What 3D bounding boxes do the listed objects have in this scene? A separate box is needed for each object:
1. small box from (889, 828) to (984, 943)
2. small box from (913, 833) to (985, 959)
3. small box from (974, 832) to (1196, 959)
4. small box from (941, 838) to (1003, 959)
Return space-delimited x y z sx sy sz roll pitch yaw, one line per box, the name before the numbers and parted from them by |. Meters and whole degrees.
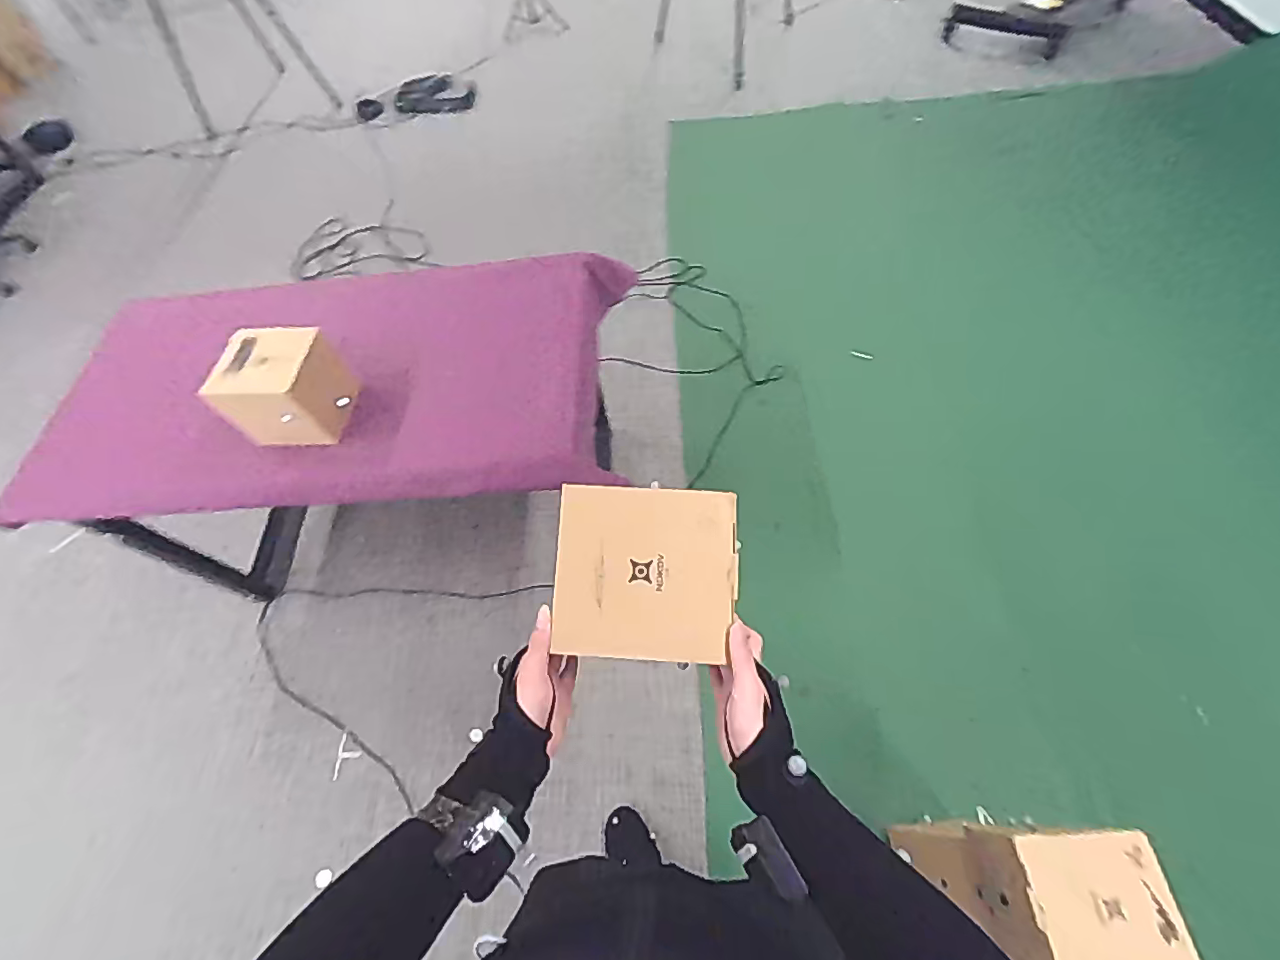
small box | 0.665 0.866 1.167 0.168 0.176 0.179 -6 59 2
small box | 0.649 0.784 1.029 0.168 0.176 0.179 -5 58 4
small box | 0.604 0.599 0.761 0.179 0.176 0.168 -4 59 5
small box | 0.631 0.695 0.892 0.168 0.176 0.179 -7 59 3
